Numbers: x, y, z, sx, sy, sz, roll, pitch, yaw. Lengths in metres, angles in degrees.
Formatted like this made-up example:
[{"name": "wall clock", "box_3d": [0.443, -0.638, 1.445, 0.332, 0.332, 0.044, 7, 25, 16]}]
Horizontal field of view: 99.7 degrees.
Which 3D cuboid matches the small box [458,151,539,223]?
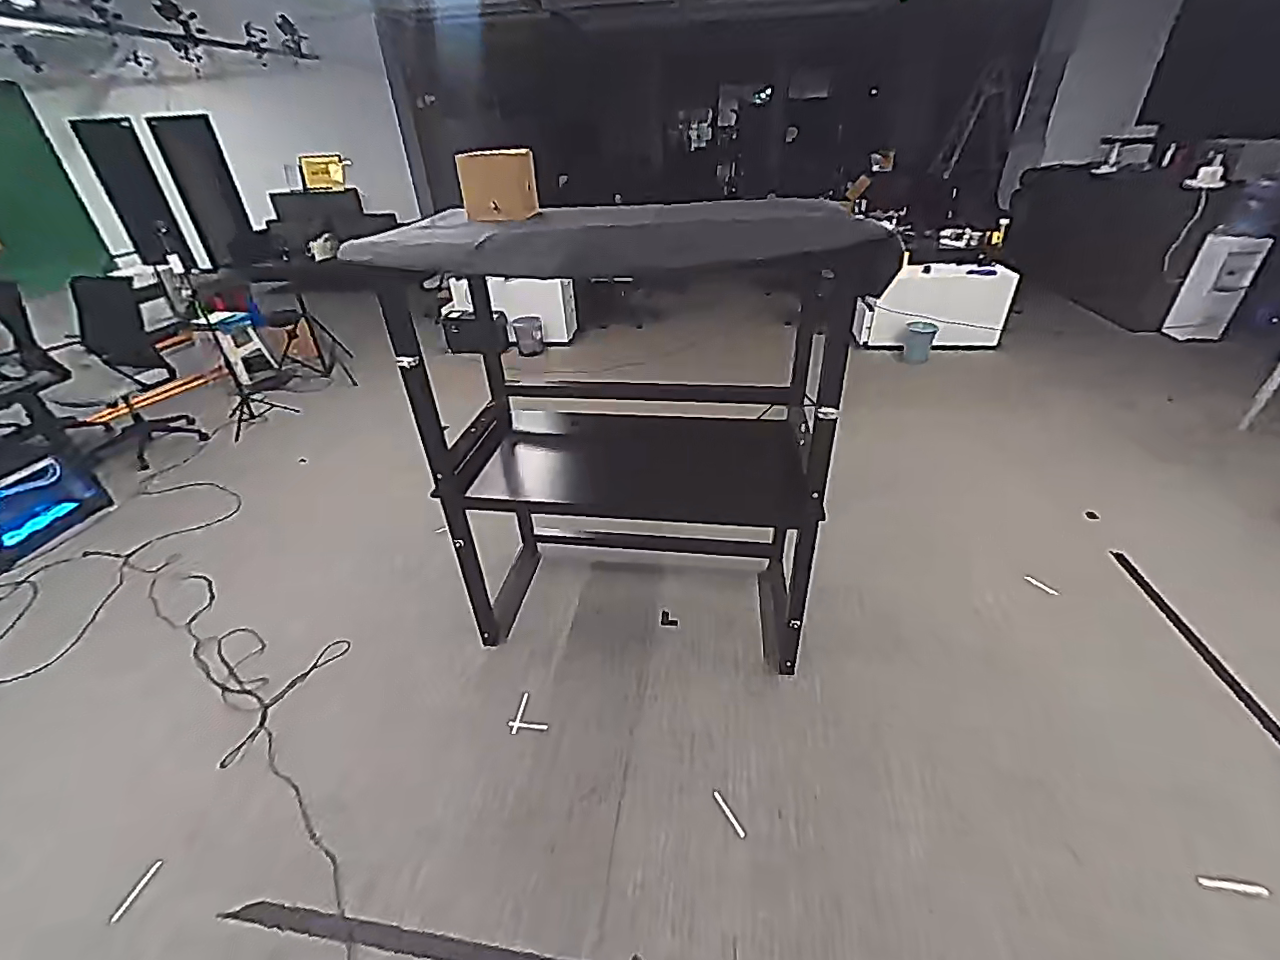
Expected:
[{"name": "small box", "box_3d": [-0.406, -0.860, 1.586, 0.179, 0.176, 0.168, 2, 34, 6]}]
